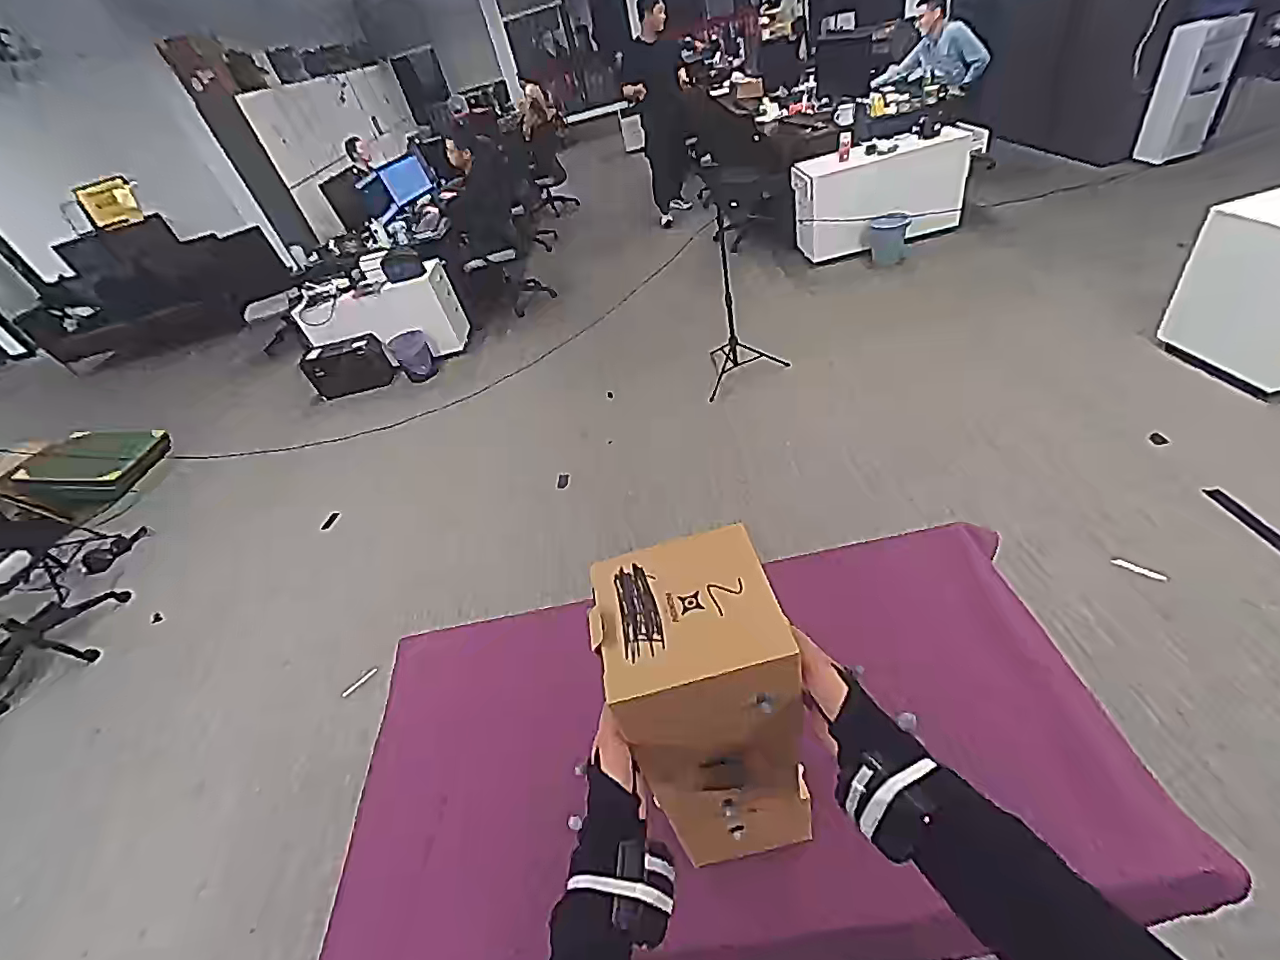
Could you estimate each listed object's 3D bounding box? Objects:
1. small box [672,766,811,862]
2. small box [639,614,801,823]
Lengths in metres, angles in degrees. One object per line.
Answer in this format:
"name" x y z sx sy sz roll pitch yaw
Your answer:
"small box" 0.135 0.421 0.780 0.179 0.176 0.168 -15 40 2
"small box" 0.097 0.298 0.677 0.168 0.176 0.179 -12 40 7
